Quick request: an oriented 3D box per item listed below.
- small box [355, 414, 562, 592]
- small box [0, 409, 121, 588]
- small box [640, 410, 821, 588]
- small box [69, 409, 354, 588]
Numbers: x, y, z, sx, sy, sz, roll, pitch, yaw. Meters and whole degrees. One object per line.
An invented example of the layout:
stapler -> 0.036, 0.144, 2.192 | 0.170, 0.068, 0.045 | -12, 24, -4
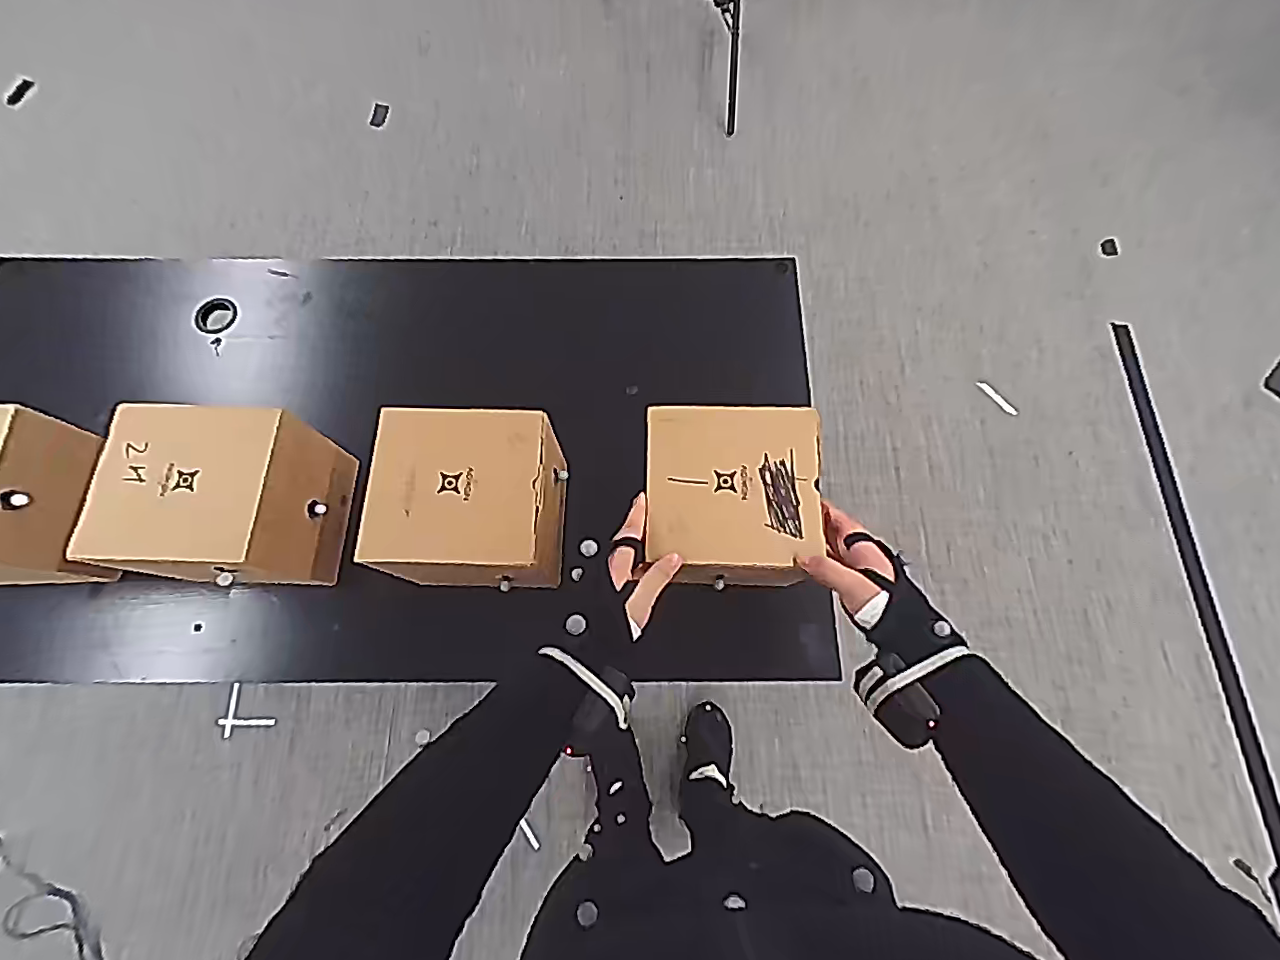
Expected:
small box -> -0.188, 0.034, 0.622 | 0.179, 0.176, 0.168 | 0, 71, 1
small box -> -0.735, 0.031, 0.621 | 0.179, 0.176, 0.168 | -2, 72, 0
small box -> 0.091, 0.030, 0.615 | 0.179, 0.176, 0.168 | 1, 73, 3
small box -> -0.462, 0.030, 0.621 | 0.179, 0.176, 0.168 | 1, 71, 1
